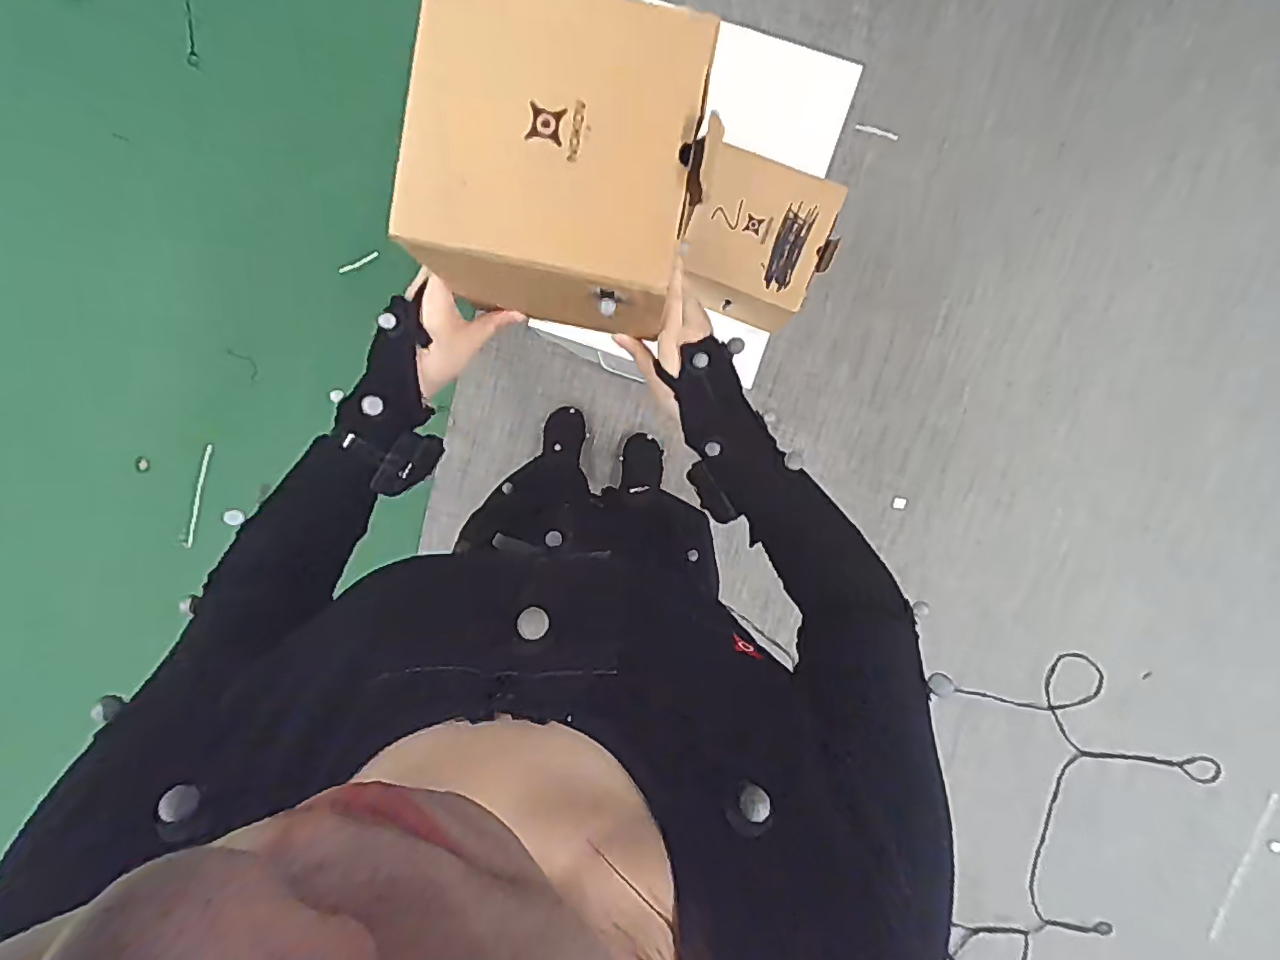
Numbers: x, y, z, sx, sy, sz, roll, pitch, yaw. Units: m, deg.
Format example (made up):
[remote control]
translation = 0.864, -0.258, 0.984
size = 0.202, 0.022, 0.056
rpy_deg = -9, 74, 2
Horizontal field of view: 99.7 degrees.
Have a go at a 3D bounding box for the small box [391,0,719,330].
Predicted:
[small box]
translation = -0.054, -0.221, 0.405
size = 0.179, 0.176, 0.168
rpy_deg = 10, 93, -3
